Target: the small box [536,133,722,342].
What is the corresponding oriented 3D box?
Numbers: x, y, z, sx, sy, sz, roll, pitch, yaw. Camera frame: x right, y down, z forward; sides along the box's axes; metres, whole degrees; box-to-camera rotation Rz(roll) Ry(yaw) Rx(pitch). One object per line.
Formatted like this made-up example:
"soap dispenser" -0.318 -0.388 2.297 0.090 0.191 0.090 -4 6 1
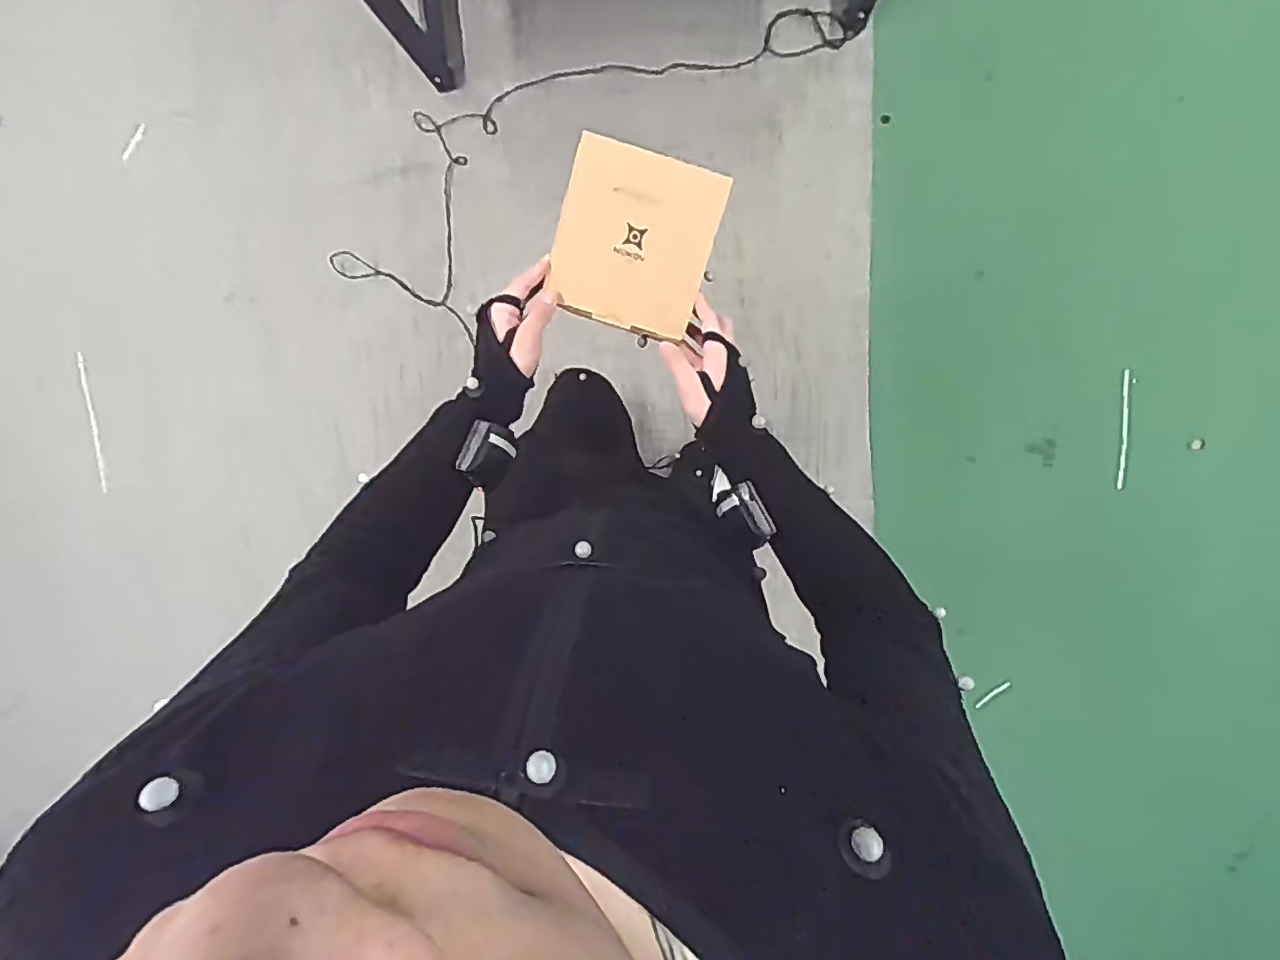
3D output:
"small box" -0.008 -0.277 0.663 0.168 0.176 0.179 18 103 -1
